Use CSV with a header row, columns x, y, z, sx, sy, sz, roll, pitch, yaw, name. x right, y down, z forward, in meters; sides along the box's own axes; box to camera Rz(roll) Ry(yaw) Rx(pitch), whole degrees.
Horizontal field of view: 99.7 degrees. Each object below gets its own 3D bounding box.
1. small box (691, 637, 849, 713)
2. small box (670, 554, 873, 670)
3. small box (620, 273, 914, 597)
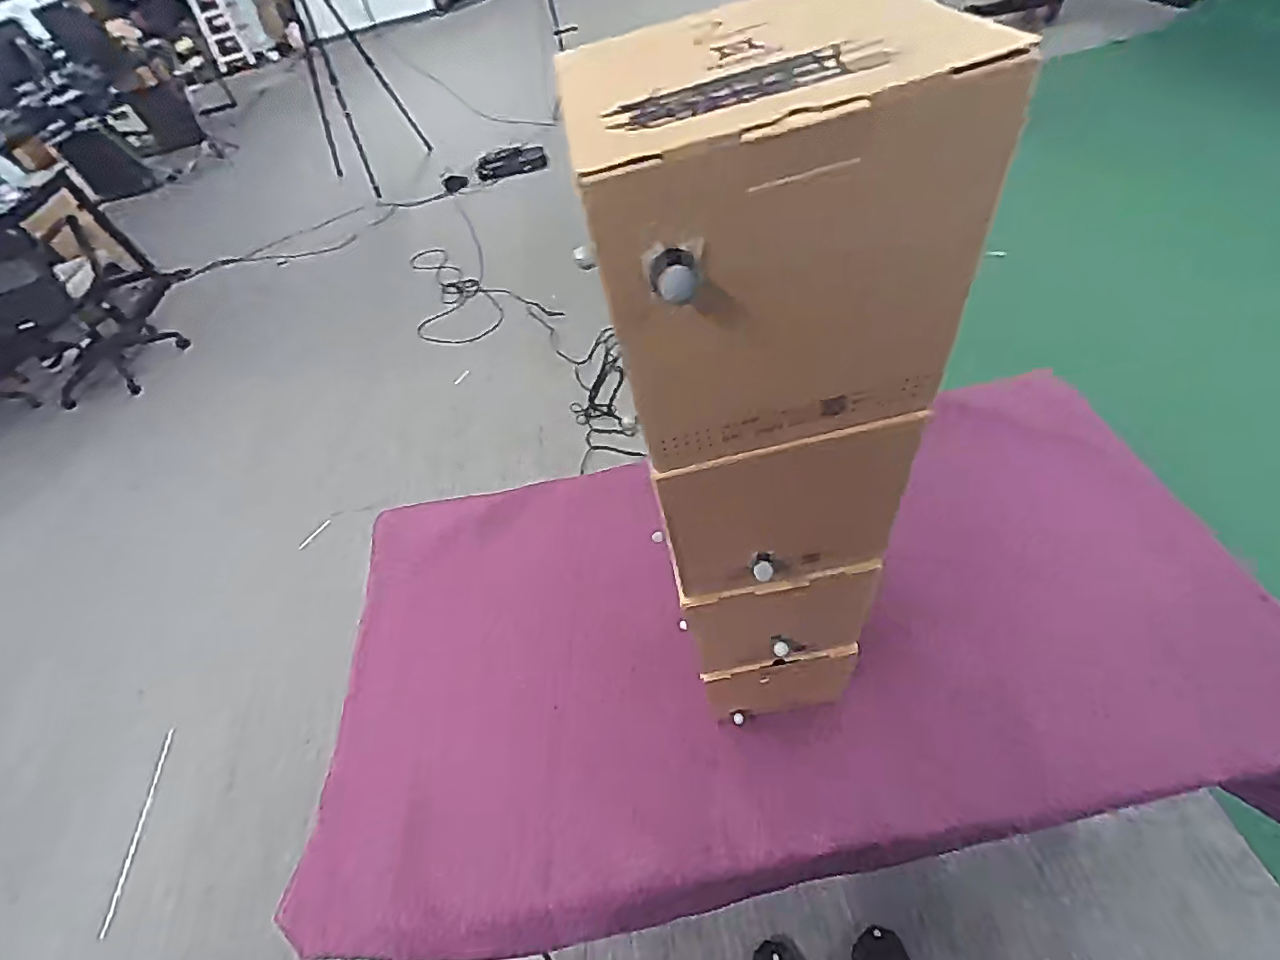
x,y,z,sx,sy,sz,roll,pitch,yaw,name
0.146,0.178,0.679,0.168,0.176,0.179,-12,50,3,small box
0.115,0.071,0.558,0.168,0.176,0.179,-13,51,3,small box
0.086,-0.032,0.436,0.168,0.176,0.179,-13,50,3,small box
